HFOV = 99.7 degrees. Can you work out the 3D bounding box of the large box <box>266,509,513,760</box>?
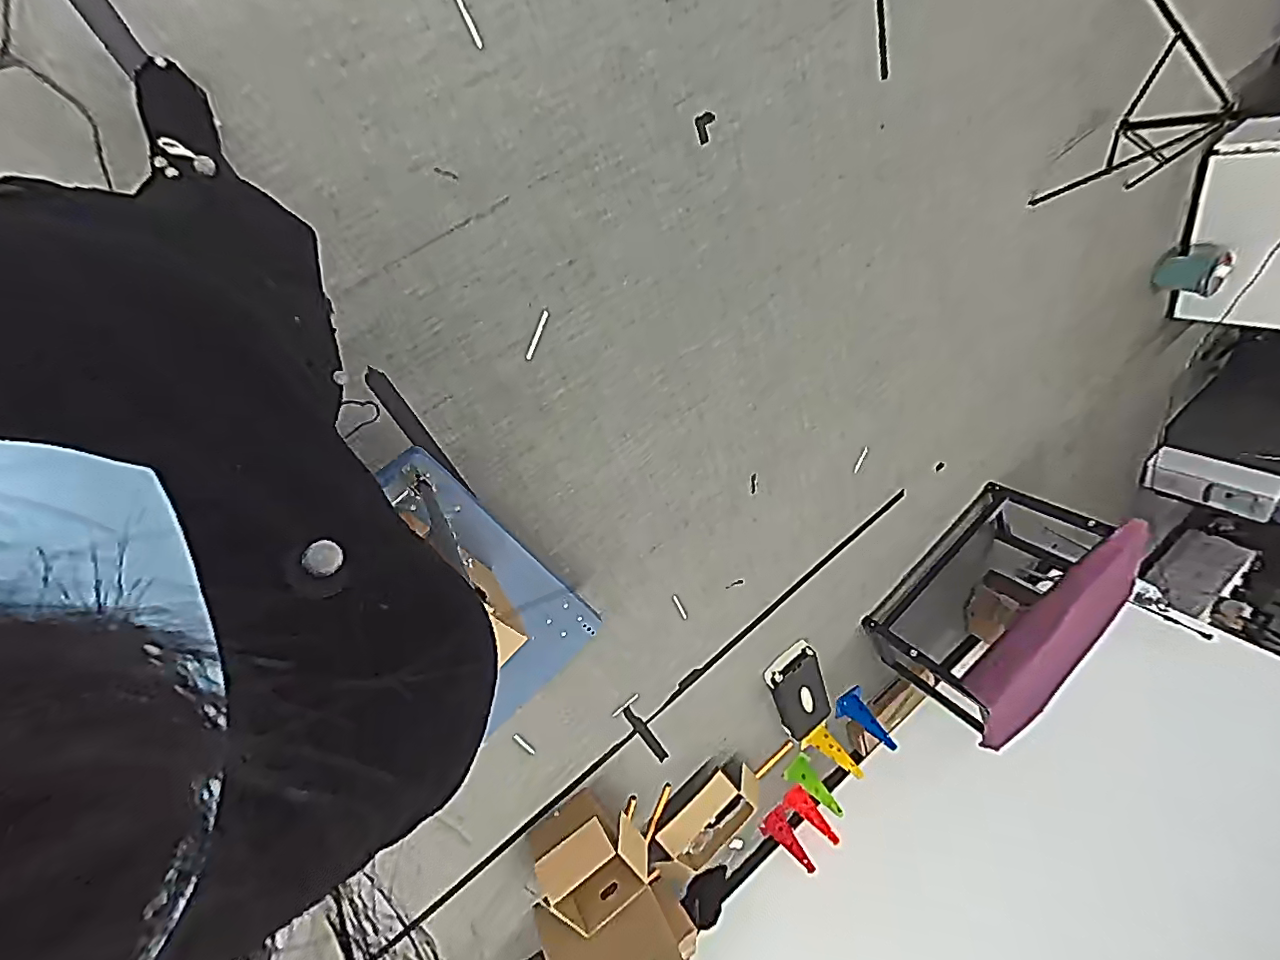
[{"bbox_3d":[-0.580,0.348,1.265,0.408,0.320,0.320,-45,128,-6],"label":"large box"}]
